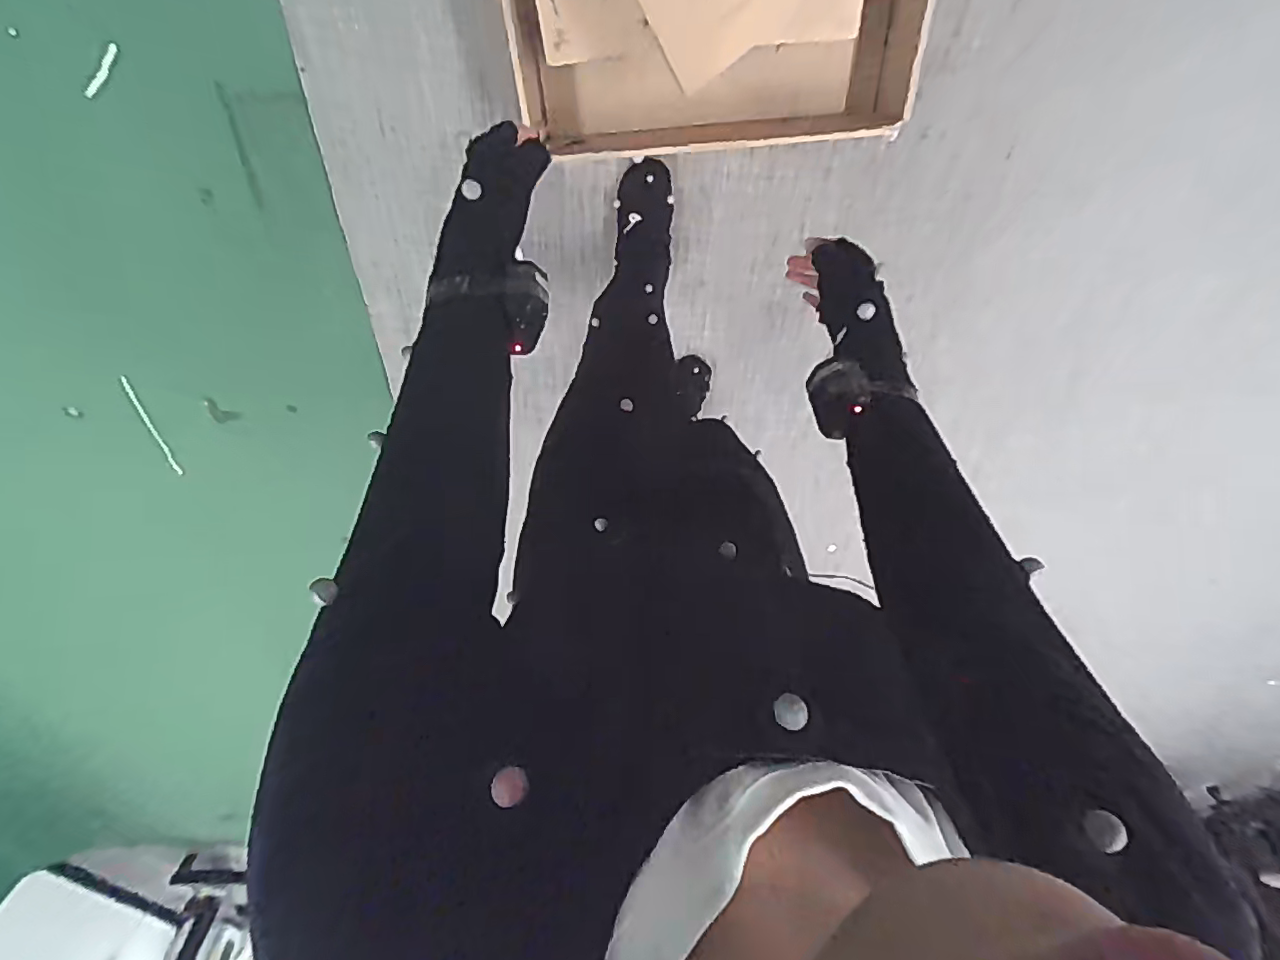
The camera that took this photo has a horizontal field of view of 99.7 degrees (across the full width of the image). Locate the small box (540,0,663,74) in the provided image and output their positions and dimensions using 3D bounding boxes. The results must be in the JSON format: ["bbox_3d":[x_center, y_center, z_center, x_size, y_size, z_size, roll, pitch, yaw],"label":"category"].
[{"bbox_3d":[-0.057,-0.720,0.803,0.179,0.176,0.168,-7,129,2],"label":"small box"}]

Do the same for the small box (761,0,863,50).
[{"bbox_3d":[0.223,-0.738,0.793,0.179,0.176,0.168,-2,131,2],"label":"small box"}]

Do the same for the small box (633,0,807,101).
[{"bbox_3d":[0.081,-0.622,0.678,0.168,0.176,0.179,-28,127,21],"label":"small box"}]
